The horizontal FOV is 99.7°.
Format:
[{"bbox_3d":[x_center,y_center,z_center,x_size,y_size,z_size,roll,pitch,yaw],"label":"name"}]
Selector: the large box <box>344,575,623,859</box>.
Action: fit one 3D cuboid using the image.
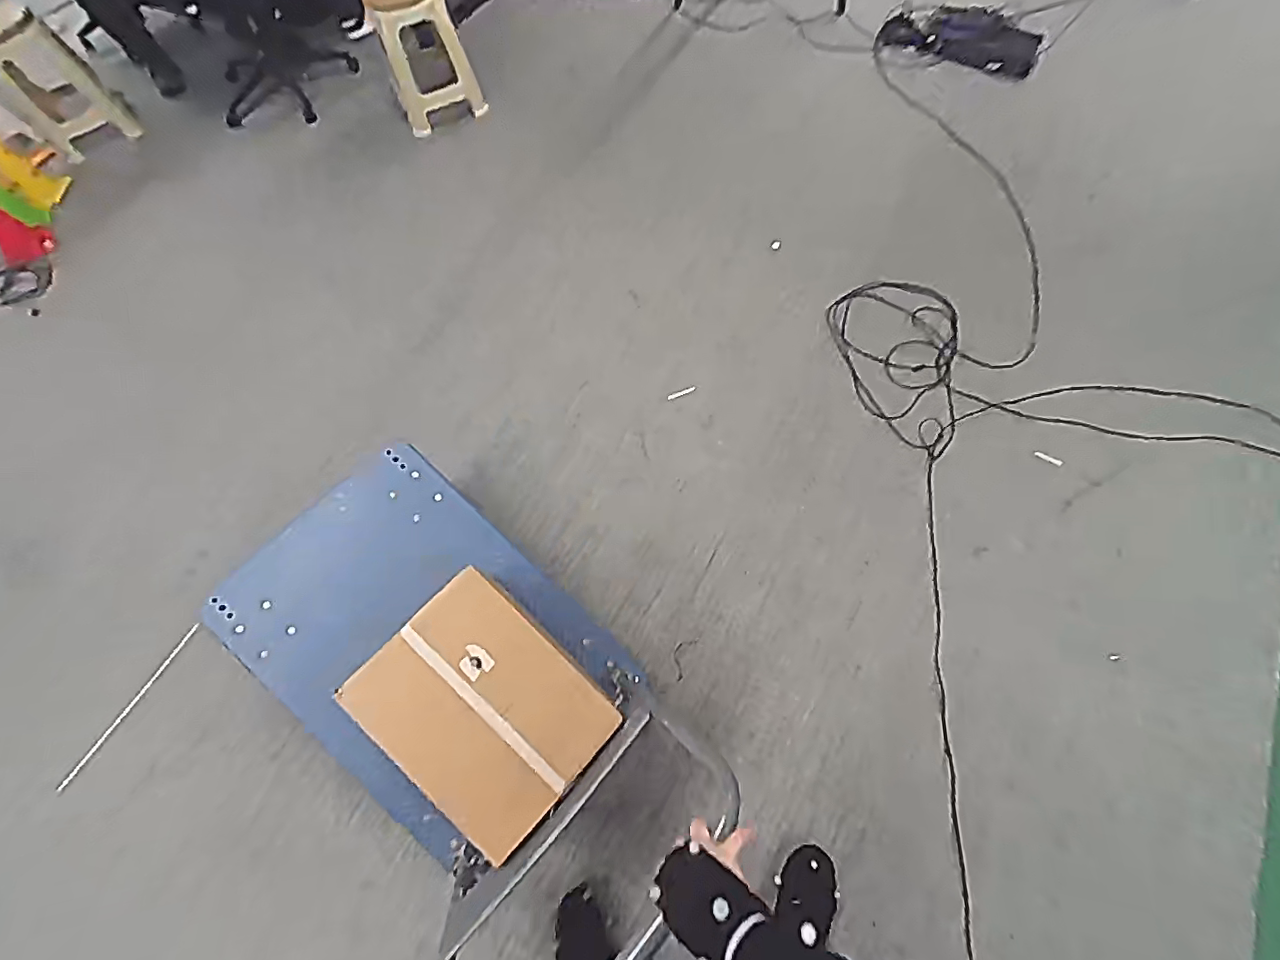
[{"bbox_3d":[-0.292,0.450,1.115,0.408,0.320,0.320,43,74,3],"label":"large box"}]
